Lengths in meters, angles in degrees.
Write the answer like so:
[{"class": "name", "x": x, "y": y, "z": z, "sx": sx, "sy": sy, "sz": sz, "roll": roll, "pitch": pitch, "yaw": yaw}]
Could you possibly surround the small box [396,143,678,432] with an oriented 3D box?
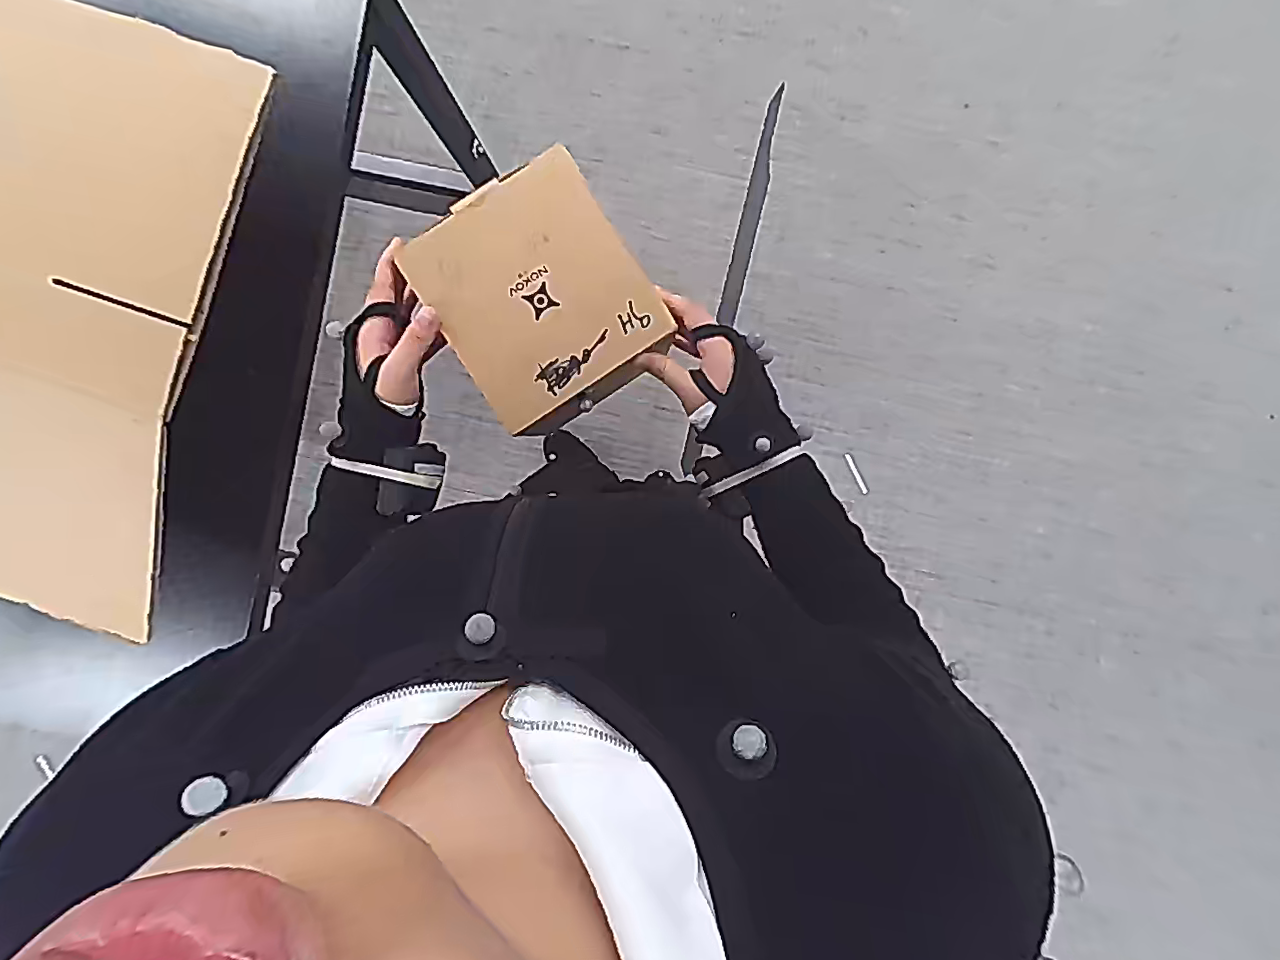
[{"class": "small box", "x": -0.085, "y": -0.158, "z": 0.513, "sx": 0.168, "sy": 0.176, "sz": 0.179, "roll": -34, "pitch": 93, "yaw": 1}]
